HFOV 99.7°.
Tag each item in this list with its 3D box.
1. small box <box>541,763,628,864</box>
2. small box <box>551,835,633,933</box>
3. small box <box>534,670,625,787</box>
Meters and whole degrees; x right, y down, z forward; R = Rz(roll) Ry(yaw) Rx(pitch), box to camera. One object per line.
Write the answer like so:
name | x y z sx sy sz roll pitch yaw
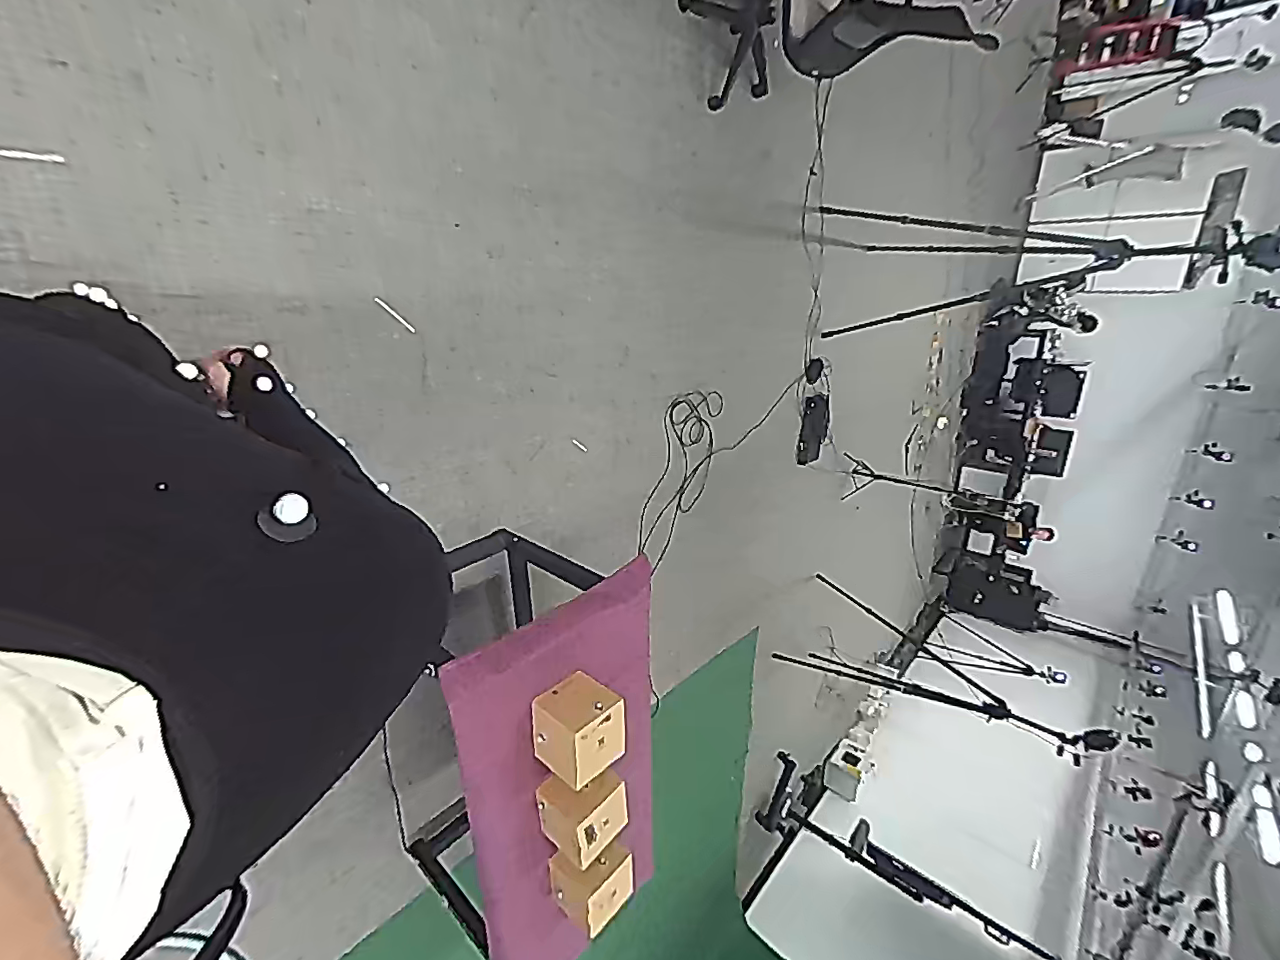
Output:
small box | -0.154 0.879 1.475 0.179 0.176 0.168 -26 121 -43
small box | -0.138 1.144 1.584 0.179 0.176 0.168 -21 118 -44
small box | -0.156 0.627 1.386 0.168 0.176 0.179 -19 117 -45
